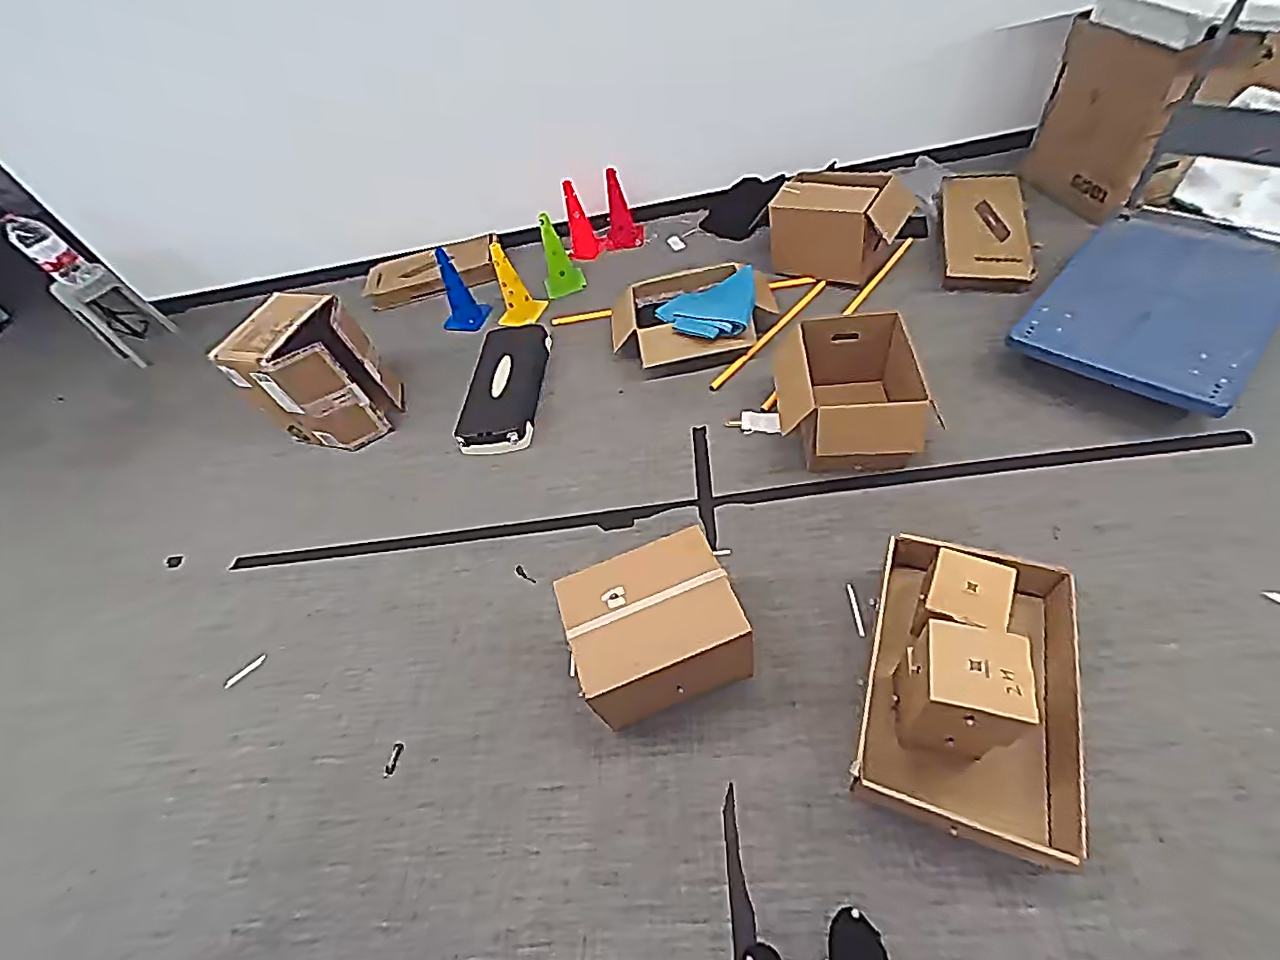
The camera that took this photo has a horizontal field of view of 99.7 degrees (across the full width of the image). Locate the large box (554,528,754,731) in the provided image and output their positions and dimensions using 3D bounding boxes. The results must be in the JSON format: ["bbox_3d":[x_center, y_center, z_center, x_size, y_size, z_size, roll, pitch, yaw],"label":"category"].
[{"bbox_3d":[0.045,0.390,1.397,0.408,0.320,0.320,-22,51,-3],"label":"large box"}]

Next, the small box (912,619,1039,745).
[{"bbox_3d":[0.645,0.400,1.064,0.179,0.176,0.168,9,54,18],"label":"small box"}]
